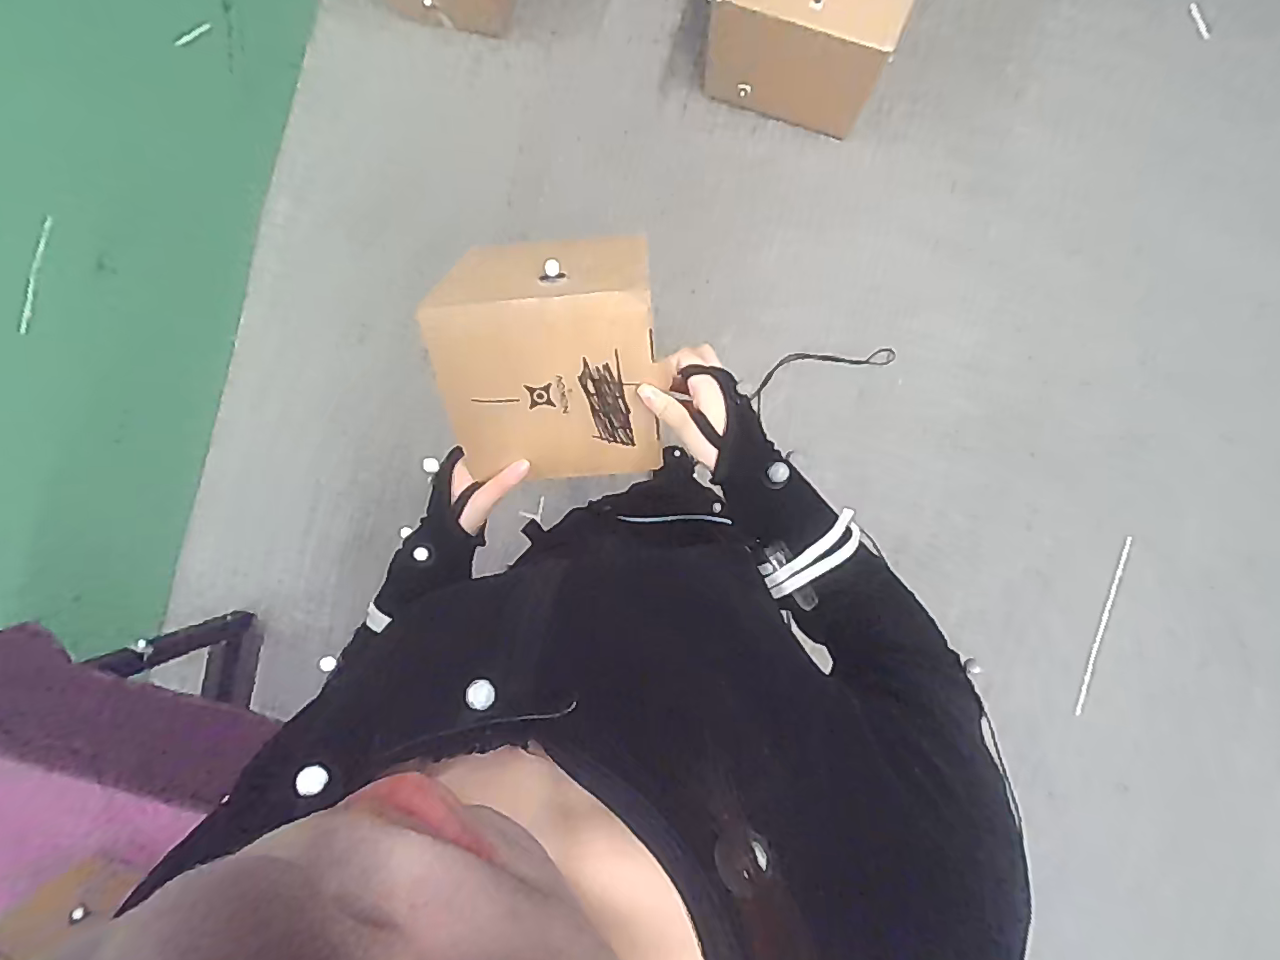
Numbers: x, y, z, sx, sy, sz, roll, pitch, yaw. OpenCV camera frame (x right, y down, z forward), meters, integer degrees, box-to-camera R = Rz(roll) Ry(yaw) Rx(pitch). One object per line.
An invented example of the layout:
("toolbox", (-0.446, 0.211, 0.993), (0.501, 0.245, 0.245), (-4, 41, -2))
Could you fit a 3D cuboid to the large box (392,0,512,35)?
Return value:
("large box", (-0.484, -1.439, 1.344), (0.320, 0.320, 0.408), (15, 91, 3))
